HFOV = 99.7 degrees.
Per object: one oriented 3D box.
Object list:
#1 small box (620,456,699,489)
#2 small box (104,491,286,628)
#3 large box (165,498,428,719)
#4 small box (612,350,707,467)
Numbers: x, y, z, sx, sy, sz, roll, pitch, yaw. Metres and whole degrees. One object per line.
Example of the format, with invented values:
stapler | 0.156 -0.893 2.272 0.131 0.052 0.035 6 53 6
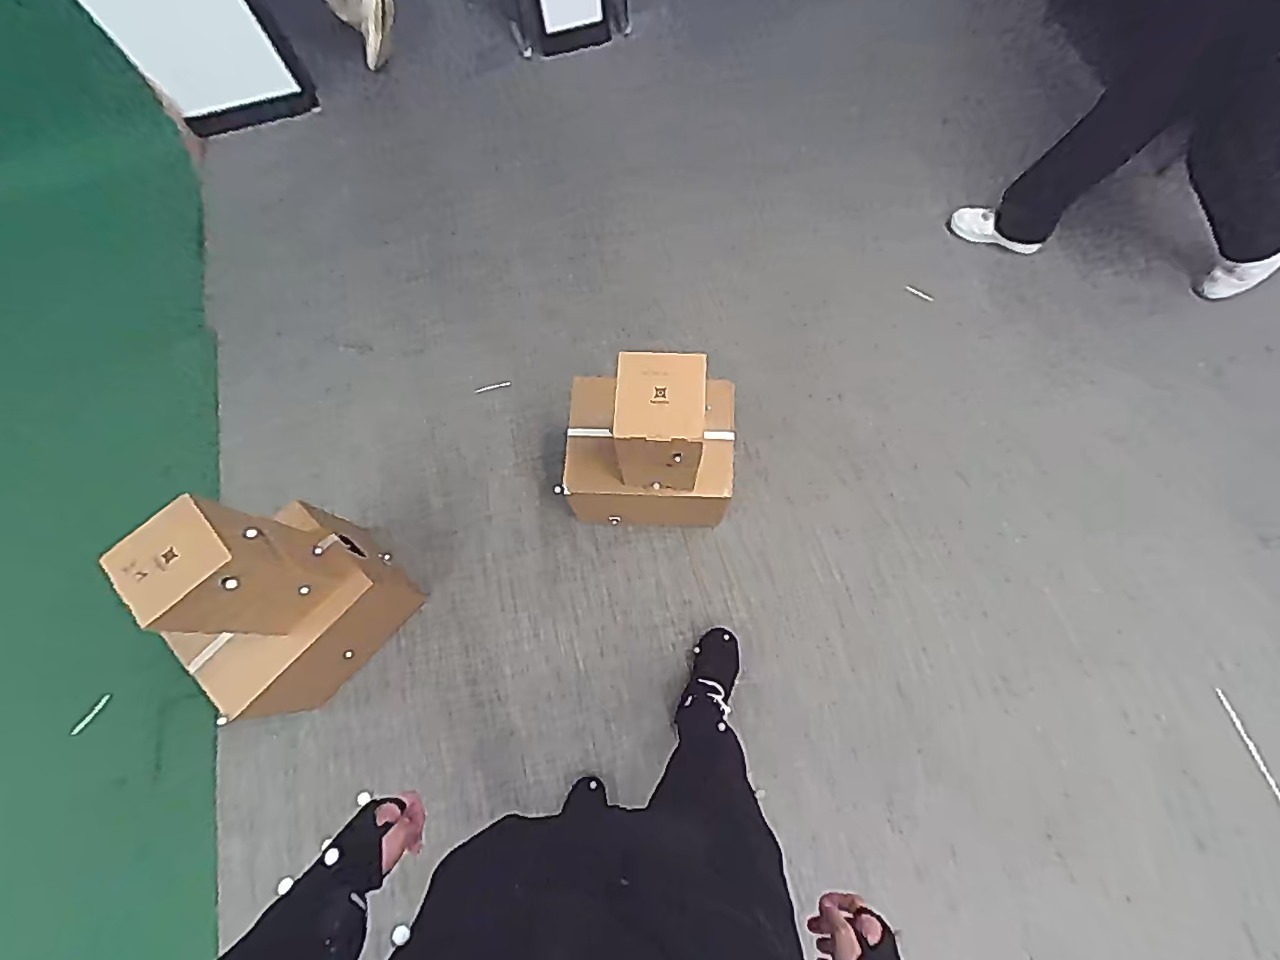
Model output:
small box | 0.050 -0.090 1.213 0.168 0.176 0.179 5 74 4
small box | -0.800 0.152 0.997 0.179 0.176 0.168 -42 75 -10
large box | -0.839 0.321 1.377 0.320 0.320 0.408 40 79 15
small box | 0.040 -0.133 1.056 0.168 0.176 0.179 3 73 3
